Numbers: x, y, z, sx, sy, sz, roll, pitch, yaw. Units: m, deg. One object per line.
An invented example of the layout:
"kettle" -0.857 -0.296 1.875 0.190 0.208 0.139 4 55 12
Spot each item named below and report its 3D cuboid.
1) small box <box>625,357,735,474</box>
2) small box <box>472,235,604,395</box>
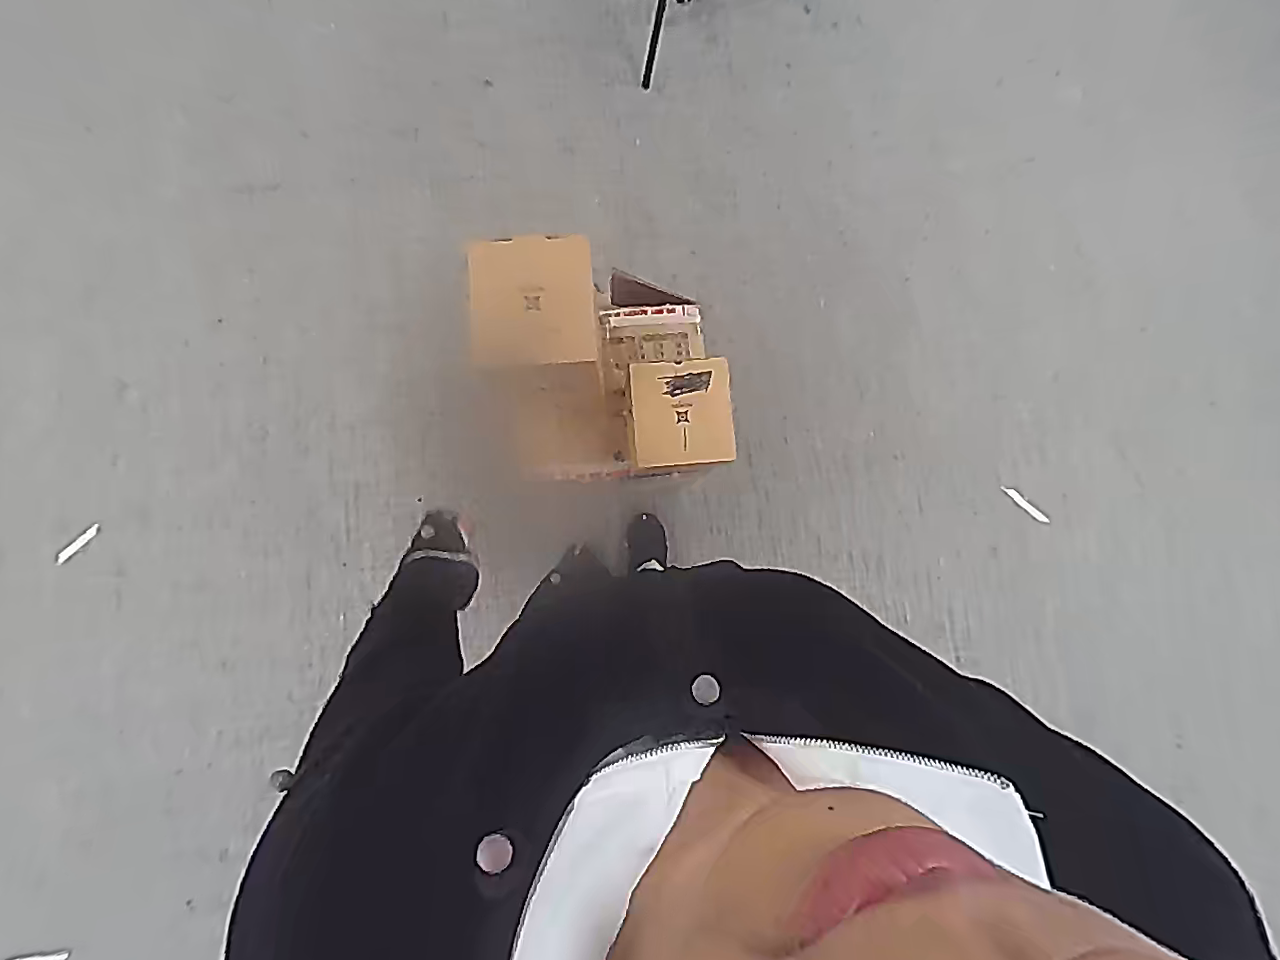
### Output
"small box" 0.064 -0.109 0.966 0.168 0.176 0.179 -5 87 -4
"small box" -0.143 -0.234 0.800 0.168 0.176 0.179 -4 87 -1
